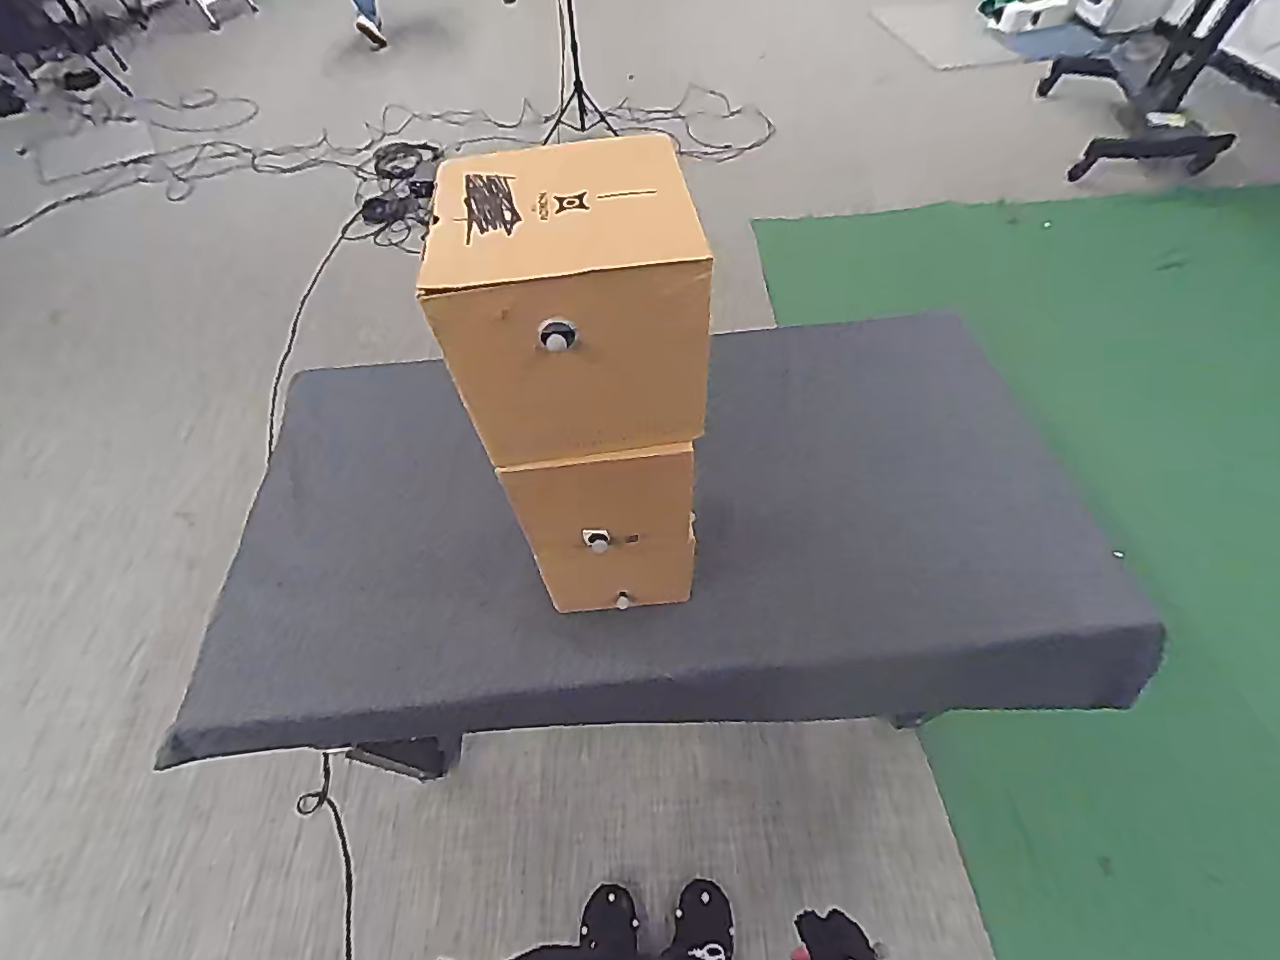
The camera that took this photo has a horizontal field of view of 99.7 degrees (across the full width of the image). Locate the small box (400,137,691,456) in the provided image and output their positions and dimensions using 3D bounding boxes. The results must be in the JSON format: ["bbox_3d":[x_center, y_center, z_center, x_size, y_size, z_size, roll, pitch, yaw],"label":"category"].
[{"bbox_3d":[-0.057,-0.134,0.424,0.179,0.176,0.168,-7,55,-1],"label":"small box"}]

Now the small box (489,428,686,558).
[{"bbox_3d":[-0.045,-0.039,0.558,0.168,0.176,0.179,-7,56,1],"label":"small box"}]

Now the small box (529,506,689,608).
[{"bbox_3d":[-0.037,0.053,0.691,0.179,0.176,0.168,-5,55,-1],"label":"small box"}]
